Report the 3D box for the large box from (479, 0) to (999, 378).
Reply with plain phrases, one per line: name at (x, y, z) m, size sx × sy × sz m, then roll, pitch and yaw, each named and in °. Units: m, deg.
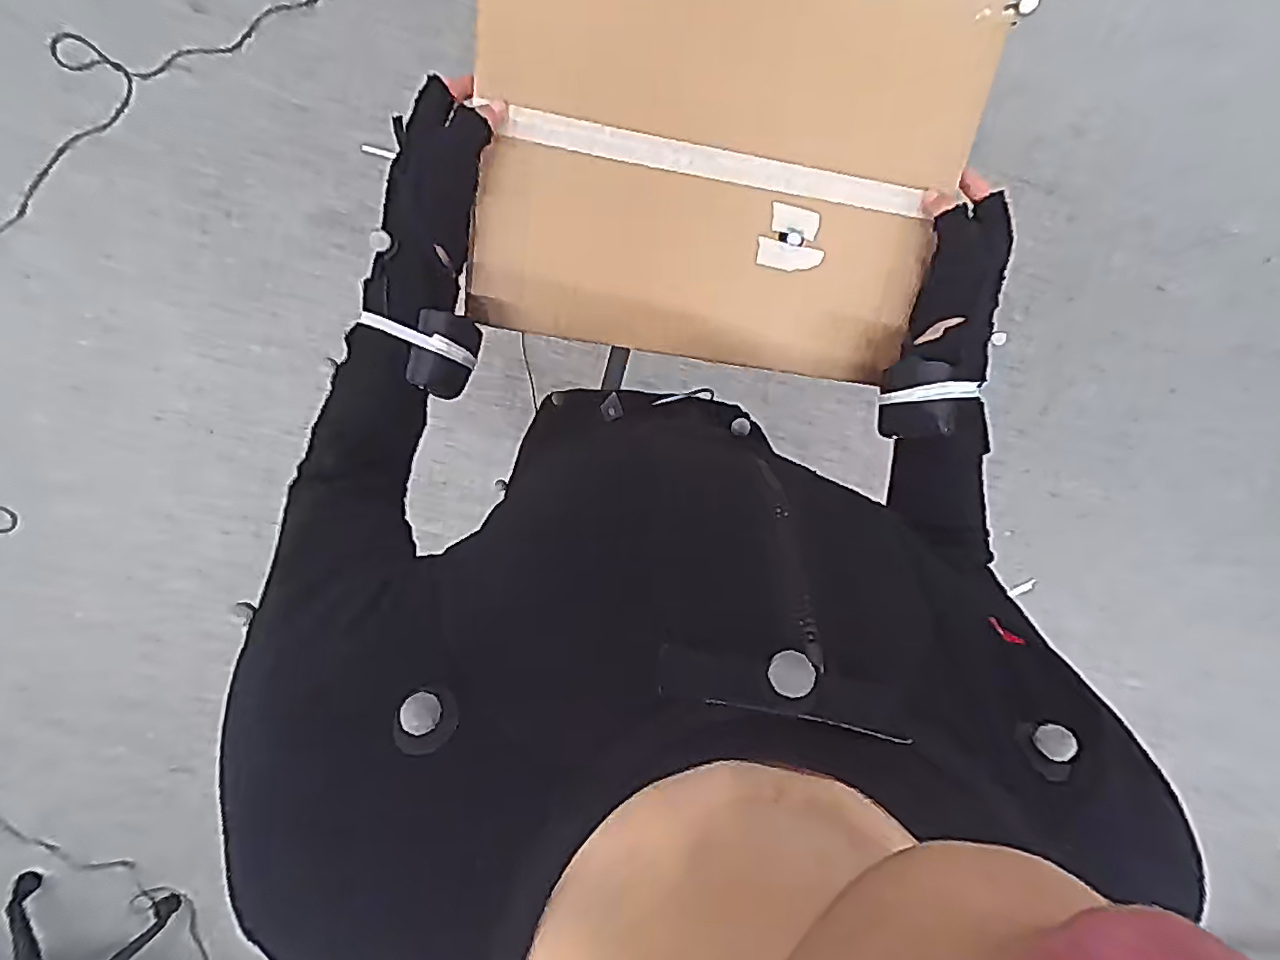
large box at (0.055, -0.316, 0.592) m, size 0.408 × 0.320 × 0.320 m, roll 6°, pitch 112°, yaw -9°
